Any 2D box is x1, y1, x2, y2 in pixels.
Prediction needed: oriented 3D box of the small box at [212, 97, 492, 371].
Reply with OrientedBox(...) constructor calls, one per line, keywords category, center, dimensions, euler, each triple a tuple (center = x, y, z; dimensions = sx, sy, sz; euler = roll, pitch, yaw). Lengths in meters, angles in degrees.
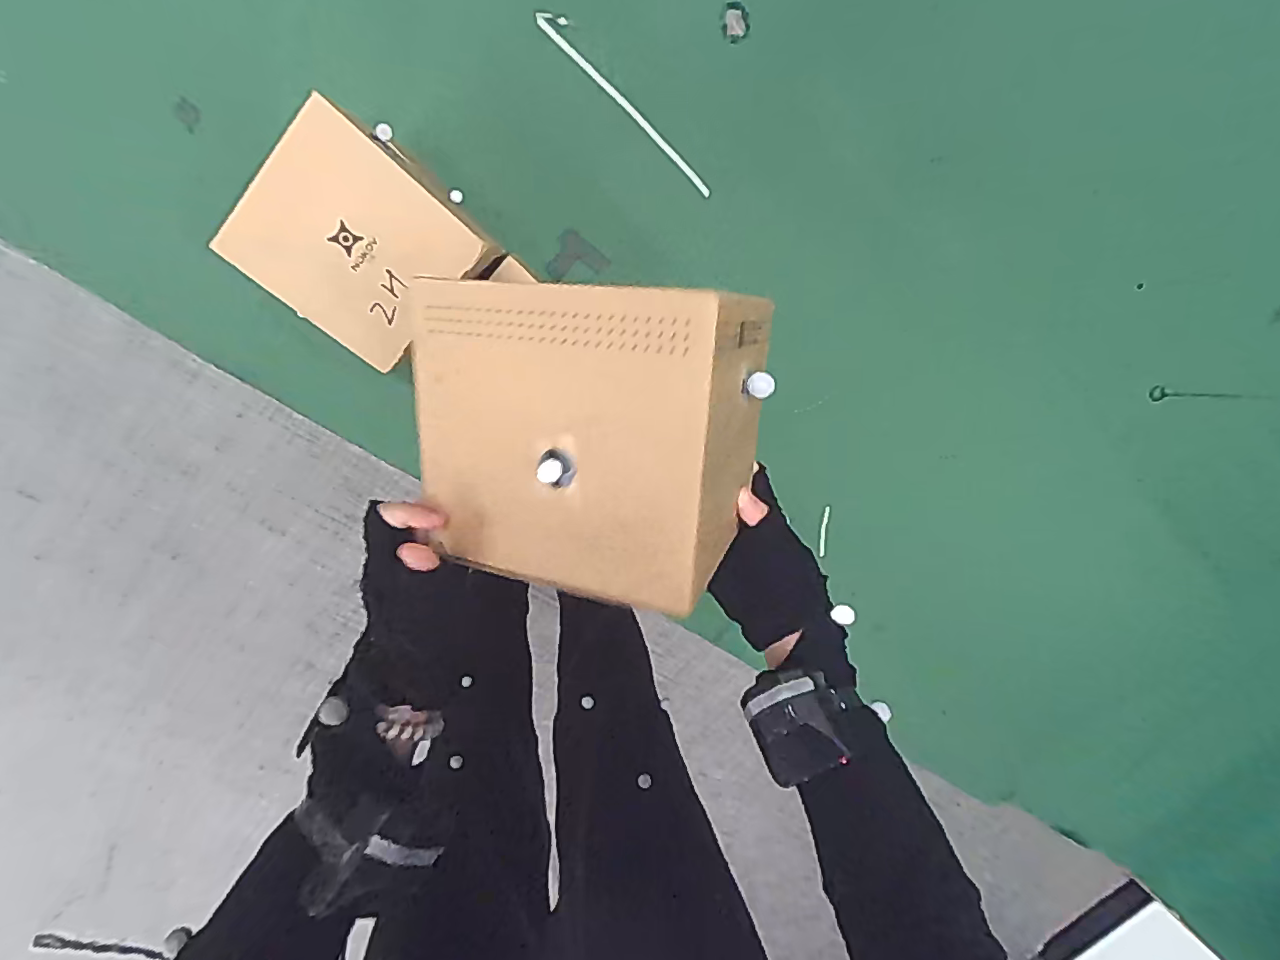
OrientedBox(category="small box", center=(-0.277, -0.244, 0.567), dimensions=(0.179, 0.176, 0.168), euler=(39, 101, -23))
